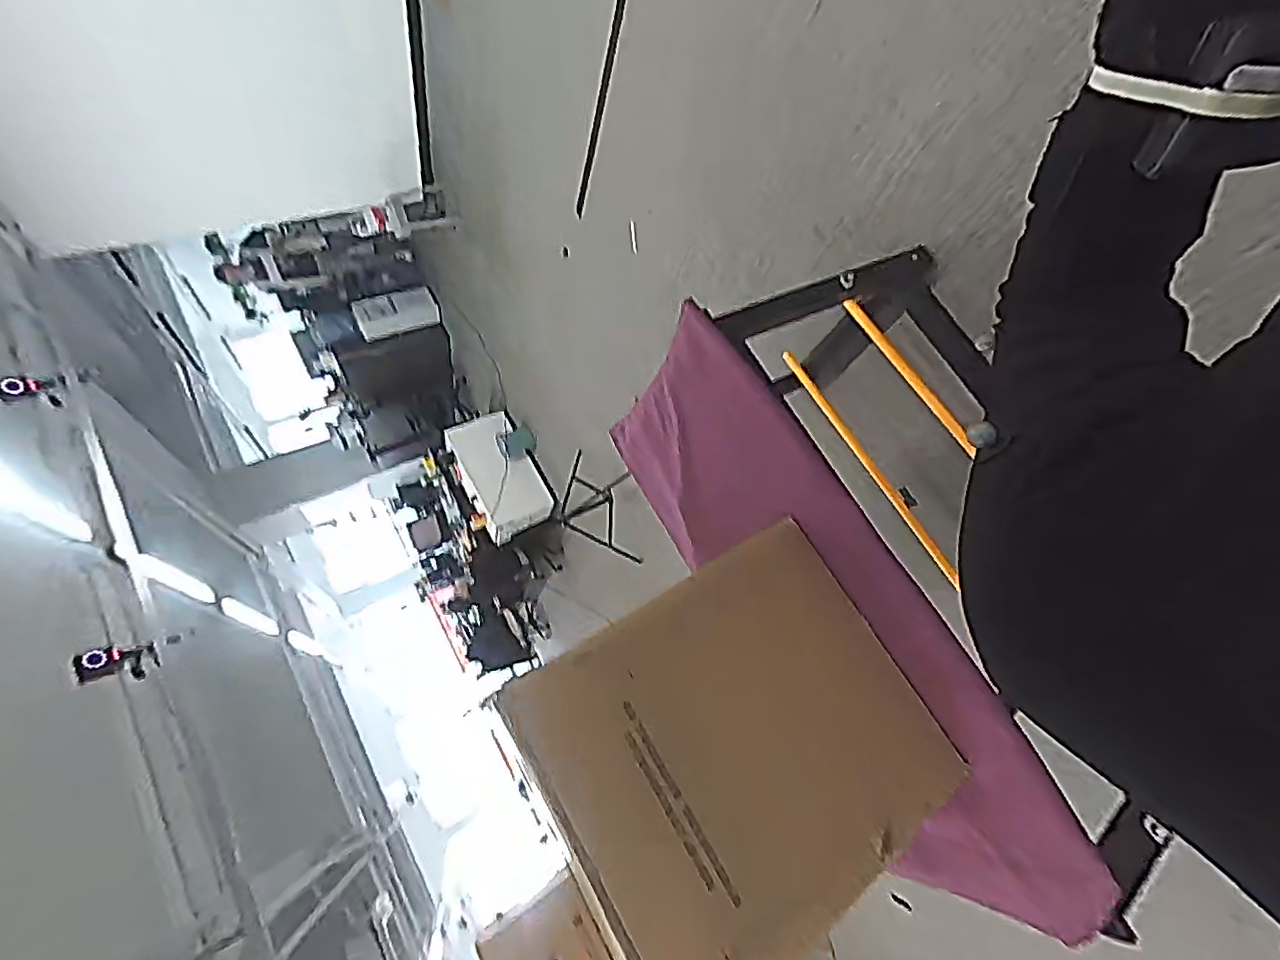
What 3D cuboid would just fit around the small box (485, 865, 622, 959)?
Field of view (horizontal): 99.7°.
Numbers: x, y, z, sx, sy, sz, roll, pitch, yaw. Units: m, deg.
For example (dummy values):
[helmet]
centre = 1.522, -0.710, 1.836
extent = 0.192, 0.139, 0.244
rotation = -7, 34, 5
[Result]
[small box]
centre = -0.138, 0.774, 0.890
extent = 0.168, 0.176, 0.179
rotation = 56, 153, 21
